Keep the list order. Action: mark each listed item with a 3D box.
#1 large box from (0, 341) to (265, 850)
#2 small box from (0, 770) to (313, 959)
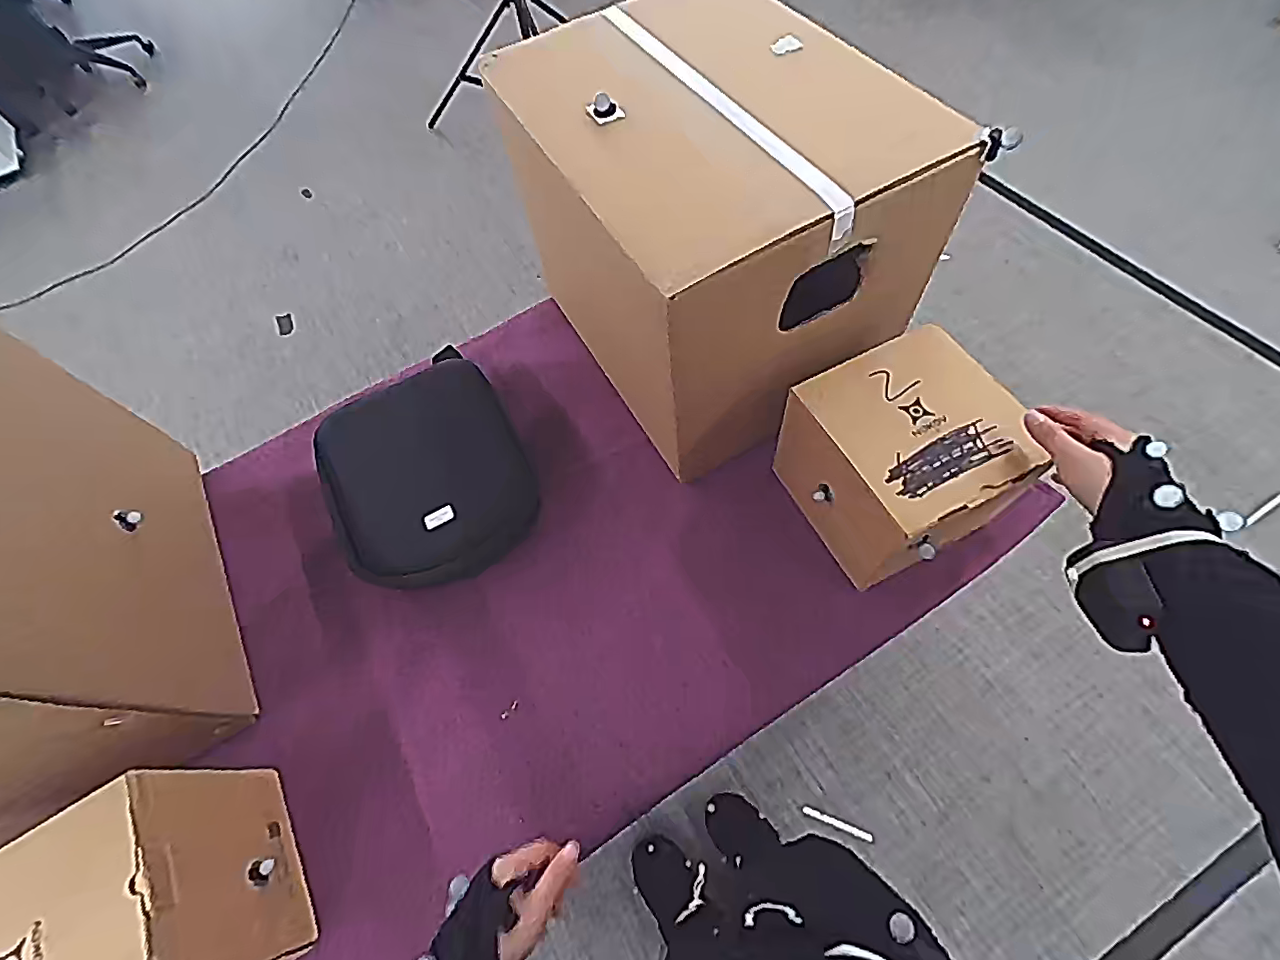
[{"bbox_3d":[-0.651,0.120,0.516,0.320,0.320,0.408,-31,66,-11],"label":"large box"},{"bbox_3d":[-0.418,0.368,0.443,0.179,0.176,0.168,-33,63,-11],"label":"small box"}]
